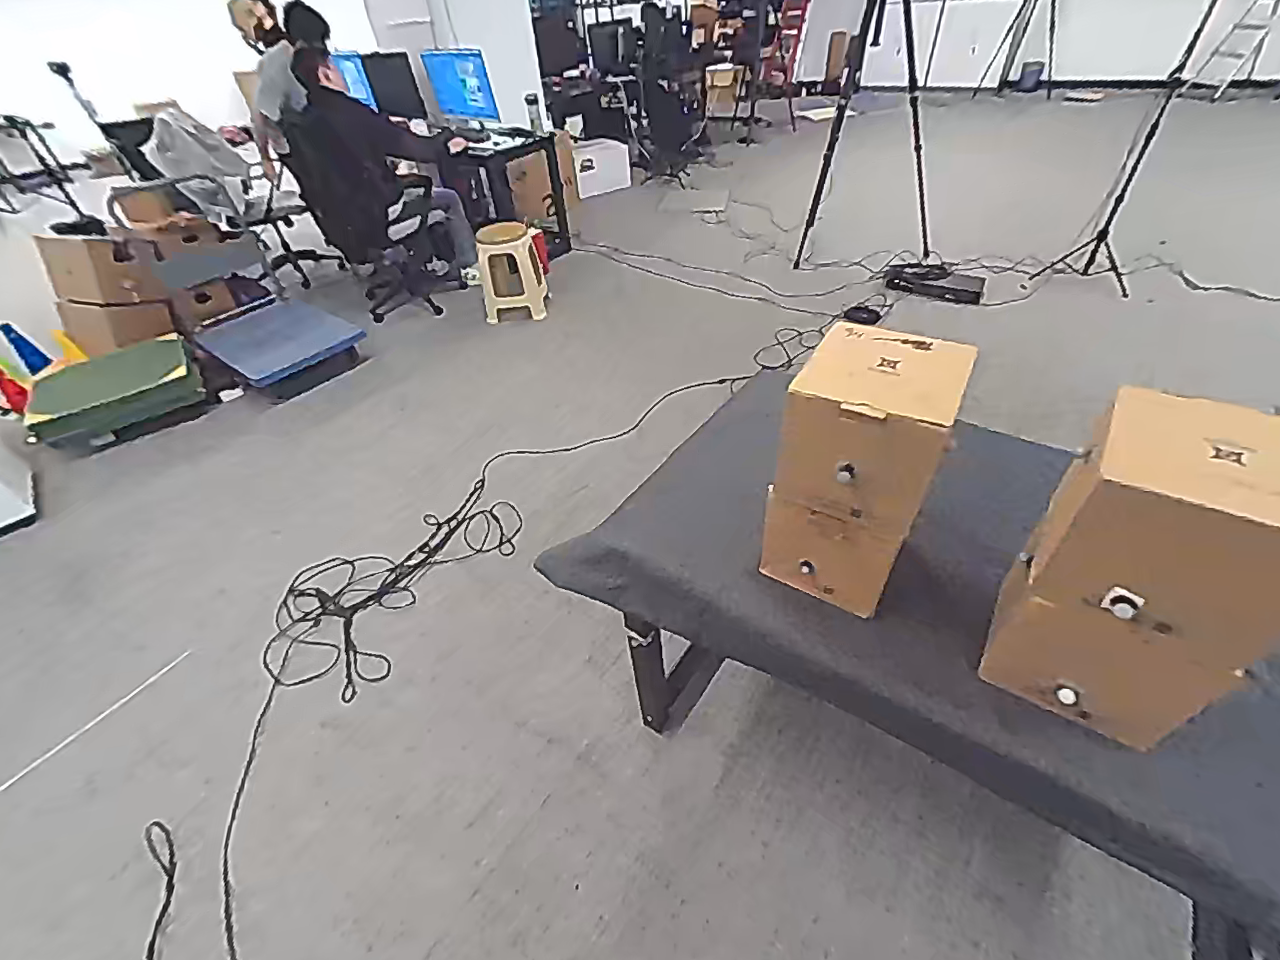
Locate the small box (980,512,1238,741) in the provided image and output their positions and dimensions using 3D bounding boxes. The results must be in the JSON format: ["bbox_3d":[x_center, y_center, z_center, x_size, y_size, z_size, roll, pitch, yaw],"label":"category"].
[{"bbox_3d":[0.520,0.155,0.622,0.168,0.176,0.179,22,49,28],"label":"small box"}]

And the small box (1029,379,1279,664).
[{"bbox_3d":[0.505,0.033,0.515,0.168,0.176,0.179,23,49,30],"label":"small box"}]

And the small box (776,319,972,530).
[{"bbox_3d":[0.273,-0.068,0.655,0.168,0.176,0.179,20,49,26],"label":"small box"}]

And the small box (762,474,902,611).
[{"bbox_3d":[0.283,0.049,0.770,0.168,0.176,0.179,21,49,26],"label":"small box"}]
